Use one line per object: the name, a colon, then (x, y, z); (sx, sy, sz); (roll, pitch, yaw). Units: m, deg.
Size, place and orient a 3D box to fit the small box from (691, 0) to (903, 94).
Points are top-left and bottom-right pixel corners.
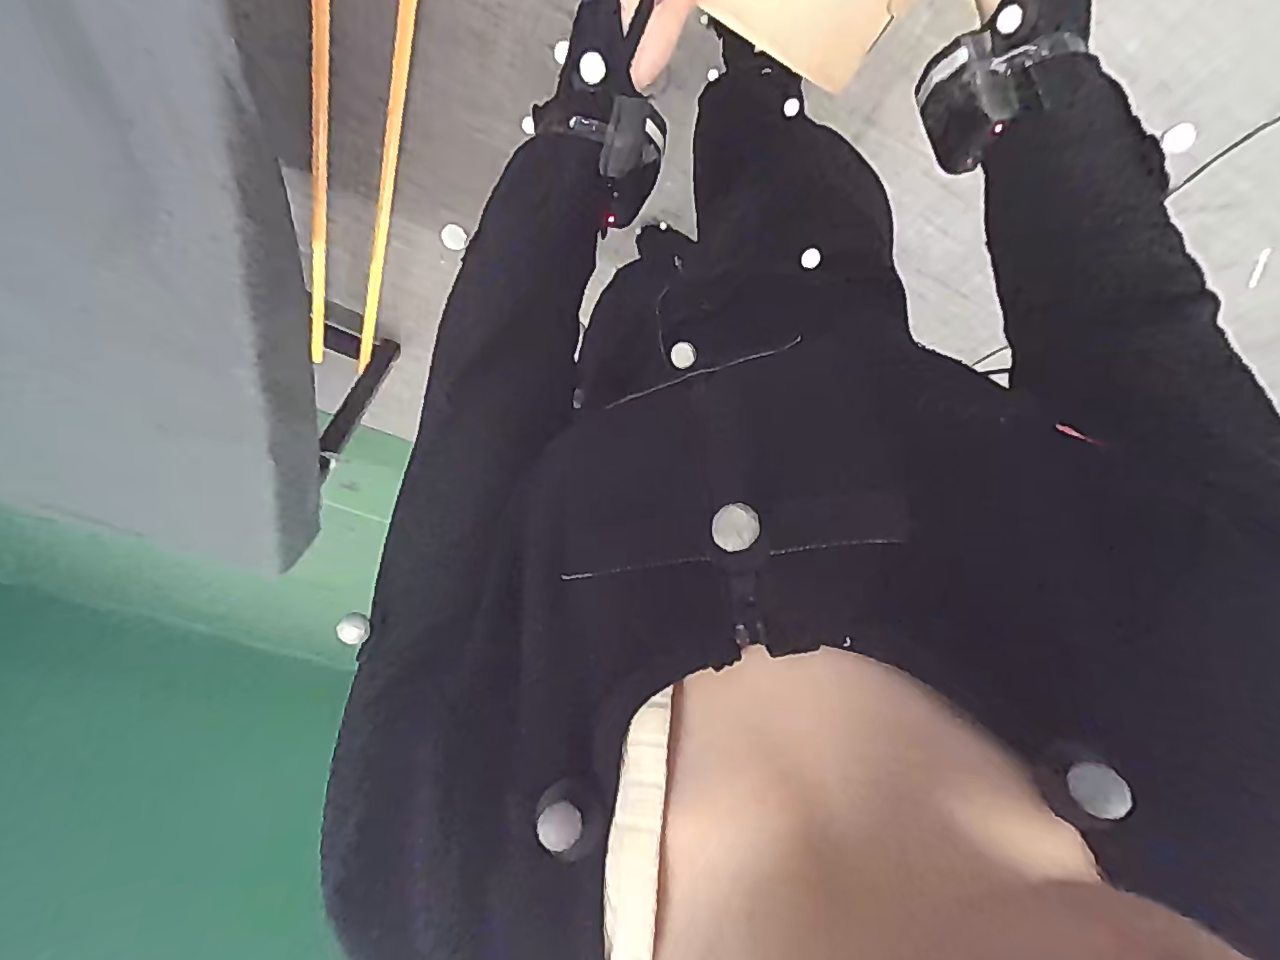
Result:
small box: (0.122, -0.438, 0.390); (0.179, 0.176, 0.168); (19, 143, -18)
